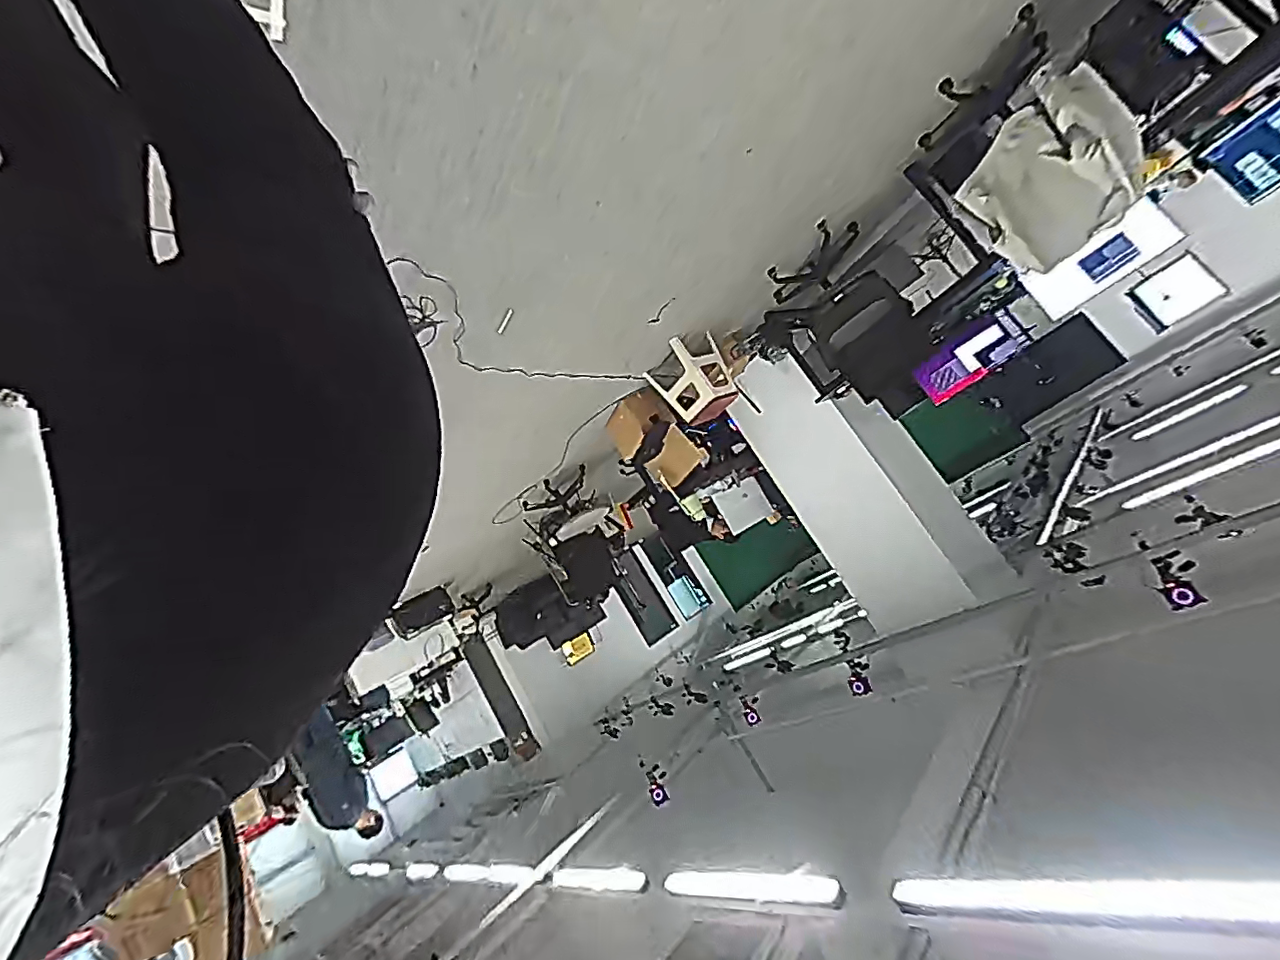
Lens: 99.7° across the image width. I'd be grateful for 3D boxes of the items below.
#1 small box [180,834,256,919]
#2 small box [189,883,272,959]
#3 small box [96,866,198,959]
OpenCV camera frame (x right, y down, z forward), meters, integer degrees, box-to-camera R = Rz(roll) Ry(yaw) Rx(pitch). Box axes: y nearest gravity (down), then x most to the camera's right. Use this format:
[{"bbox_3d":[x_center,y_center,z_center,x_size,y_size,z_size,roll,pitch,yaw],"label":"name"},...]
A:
[{"bbox_3d":[-1.384,1.293,1.769,0.168,0.176,0.179,-21,166,-38],"label":"small box"},{"bbox_3d":[-1.304,1.432,1.728,0.168,0.176,0.179,-22,167,-36],"label":"small box"},{"bbox_3d":[-1.382,1.228,1.517,0.179,0.176,0.168,-22,166,-42],"label":"small box"}]
